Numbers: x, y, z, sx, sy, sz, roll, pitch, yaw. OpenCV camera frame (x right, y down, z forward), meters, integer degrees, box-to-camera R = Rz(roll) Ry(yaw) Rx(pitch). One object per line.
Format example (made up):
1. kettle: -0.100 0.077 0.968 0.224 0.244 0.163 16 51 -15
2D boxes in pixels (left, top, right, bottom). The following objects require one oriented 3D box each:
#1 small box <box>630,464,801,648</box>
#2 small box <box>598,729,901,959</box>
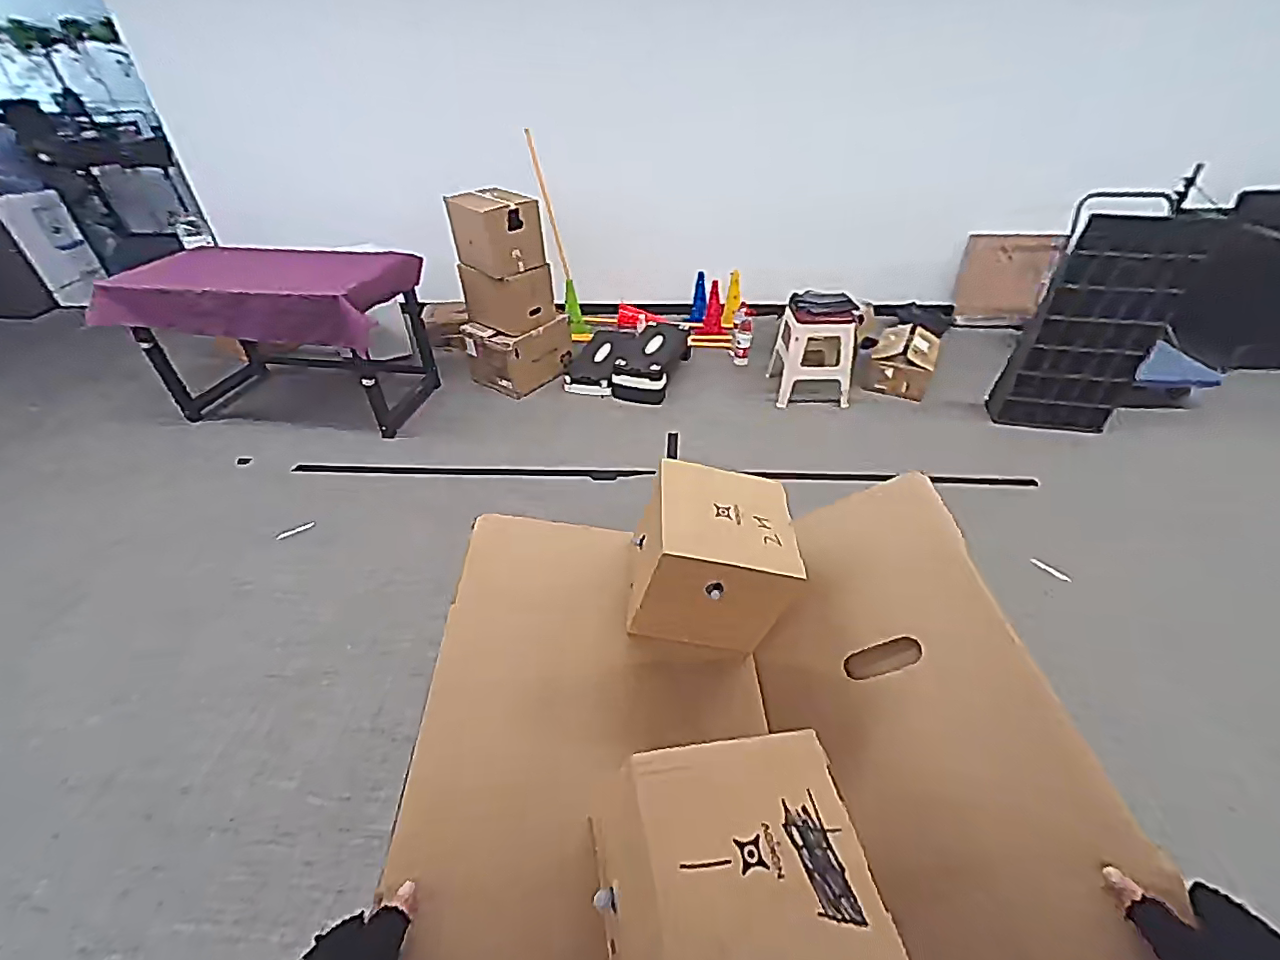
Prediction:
1. small box: 0.089 0.106 0.730 0.179 0.176 0.168 12 42 -9
2. small box: 0.073 0.339 0.470 0.179 0.176 0.168 2 44 -18
